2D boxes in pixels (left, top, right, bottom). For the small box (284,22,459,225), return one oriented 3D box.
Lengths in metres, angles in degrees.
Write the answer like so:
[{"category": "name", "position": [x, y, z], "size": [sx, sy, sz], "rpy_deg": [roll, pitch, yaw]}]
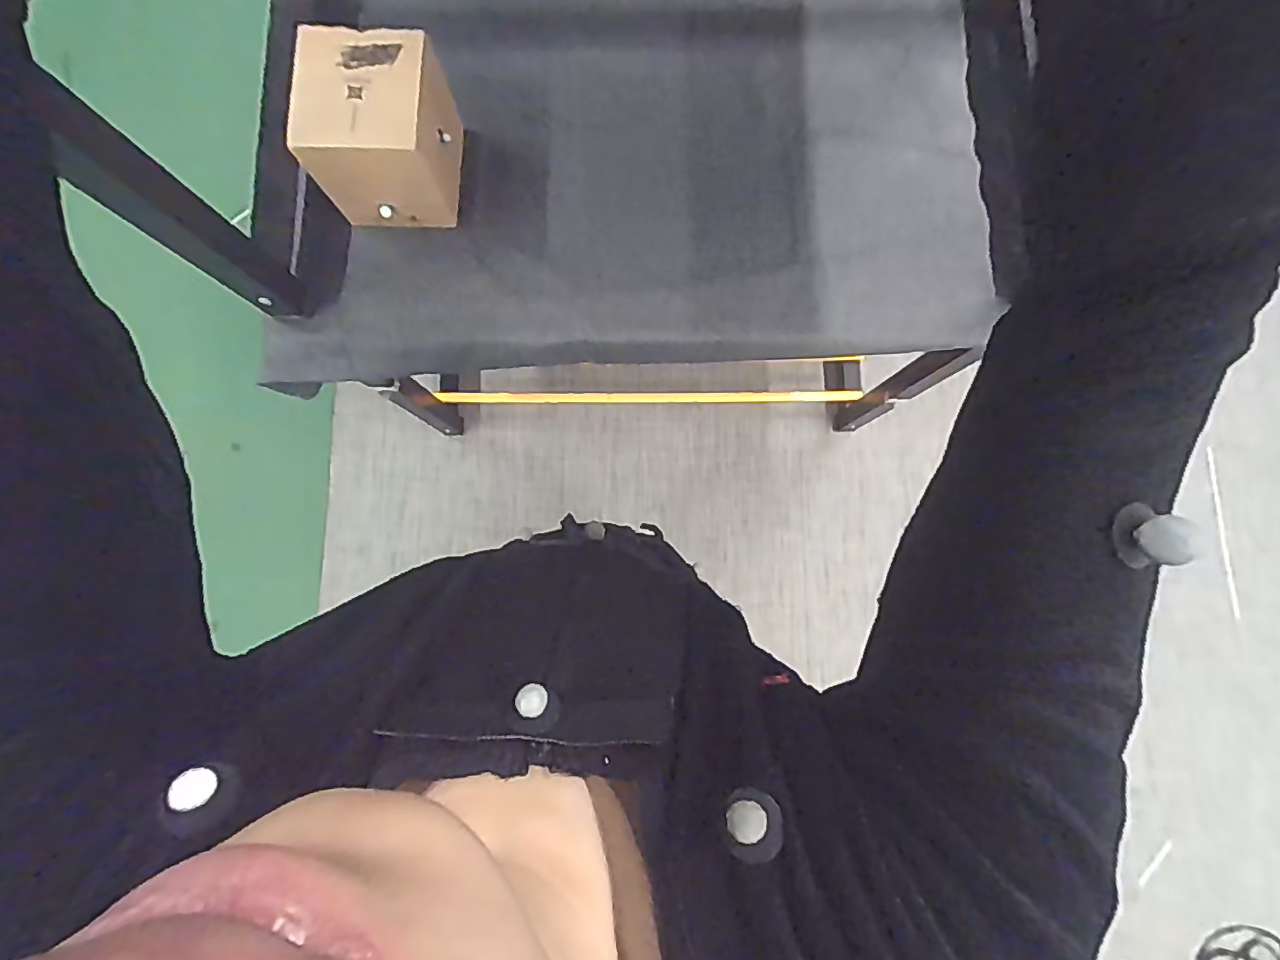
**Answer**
[{"category": "small box", "position": [-0.367, -0.497, 0.772], "size": [0.168, 0.176, 0.179], "rpy_deg": [1, 83, -1]}]
